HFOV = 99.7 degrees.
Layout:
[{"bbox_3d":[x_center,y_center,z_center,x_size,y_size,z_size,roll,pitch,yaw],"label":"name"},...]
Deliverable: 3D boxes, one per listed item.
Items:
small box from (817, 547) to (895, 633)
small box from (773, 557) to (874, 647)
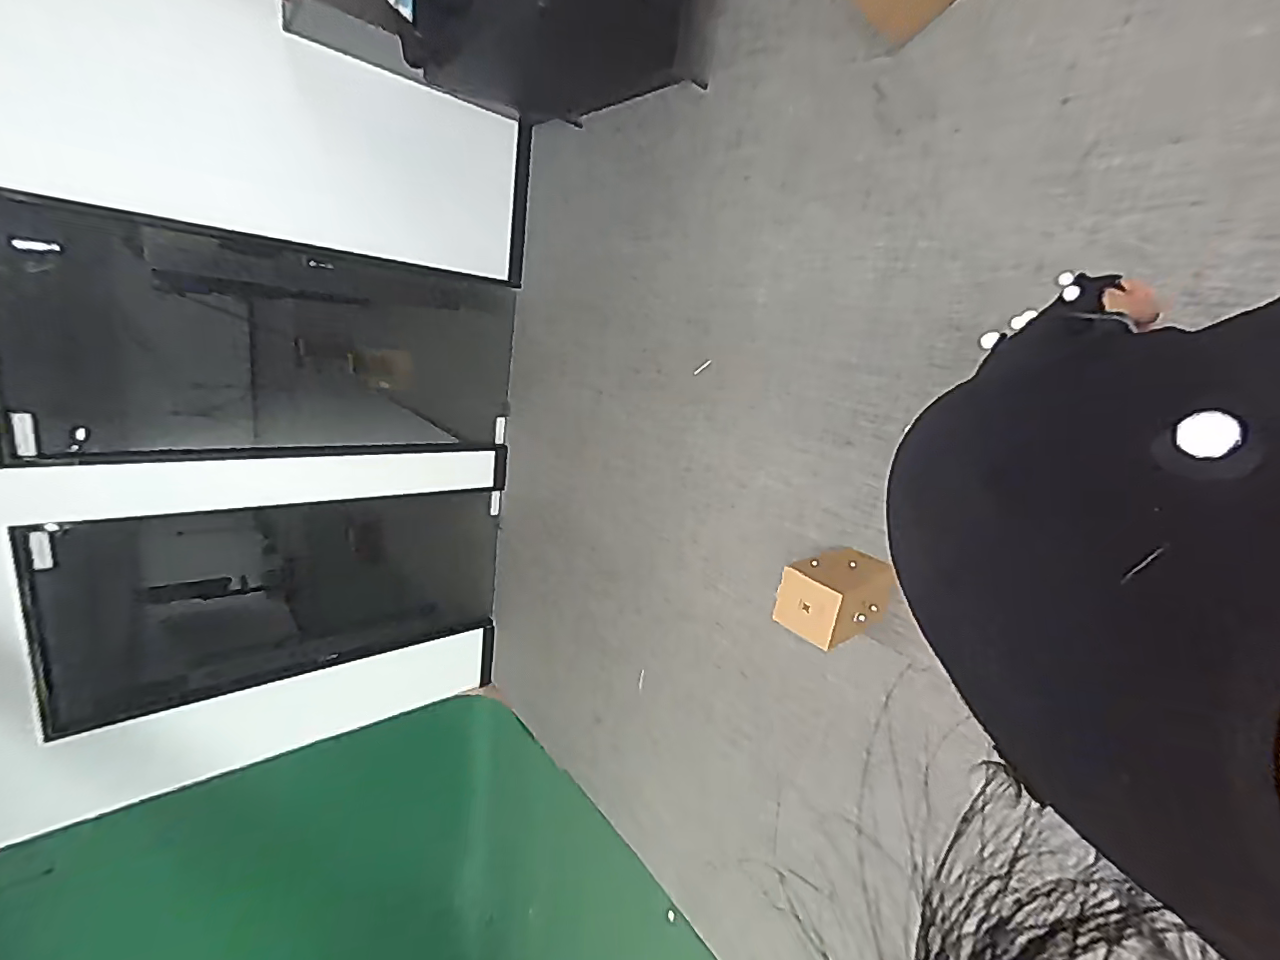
[{"bbox_3d":[0.608,0.310,1.564,0.168,0.176,0.179,26,113,46],"label":"small box"},{"bbox_3d":[0.491,0.316,1.451,0.179,0.176,0.168,26,113,45],"label":"small box"}]
